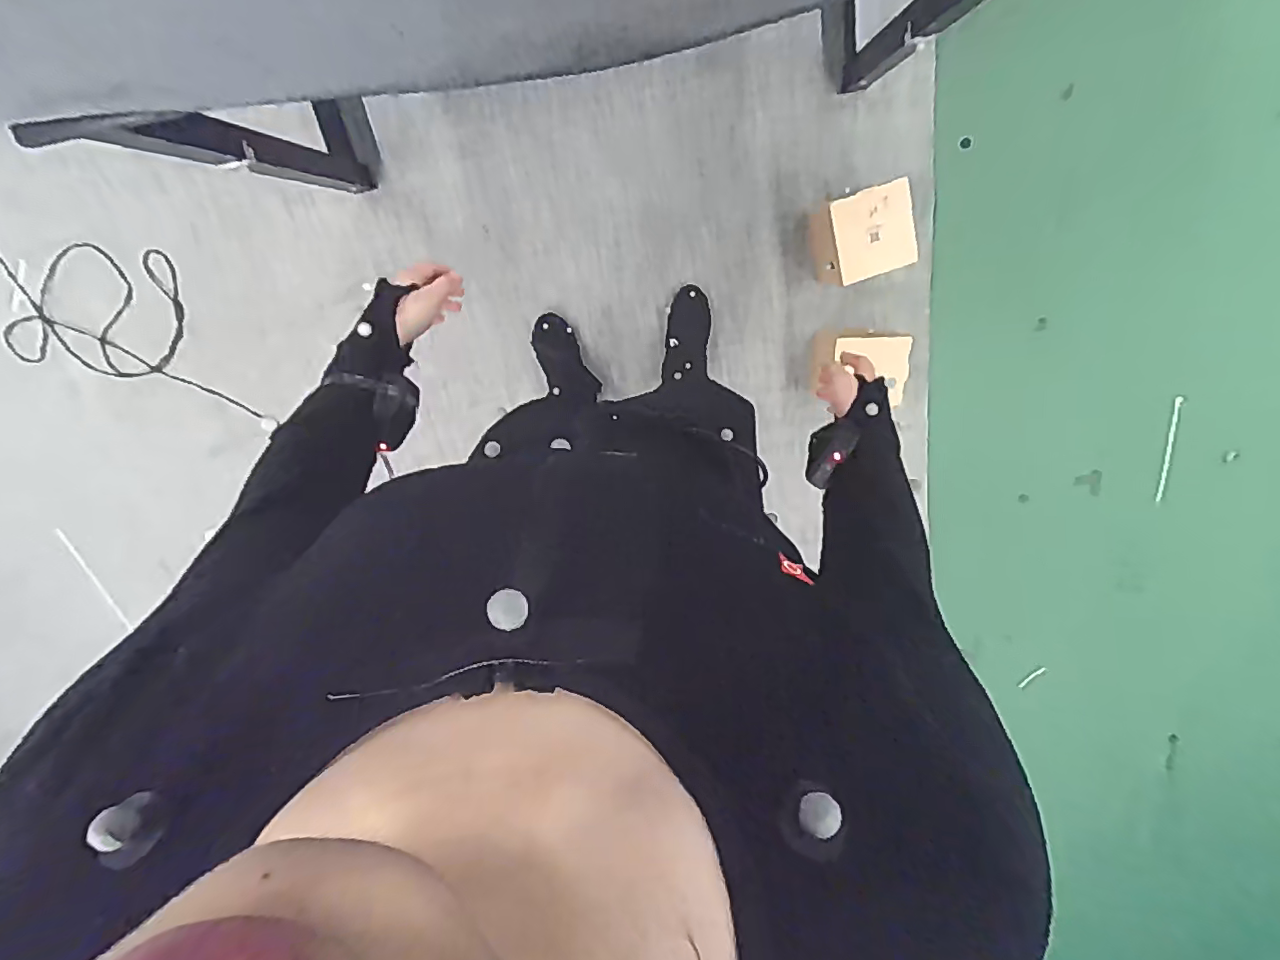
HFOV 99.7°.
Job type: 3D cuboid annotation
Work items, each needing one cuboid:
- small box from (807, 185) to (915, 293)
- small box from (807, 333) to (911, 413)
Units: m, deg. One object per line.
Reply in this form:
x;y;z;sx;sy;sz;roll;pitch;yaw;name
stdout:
0.492;-0.538;1.218;0.168;0.176;0.179;-17;111;6;small box
0.530;-0.267;1.331;0.179;0.176;0.168;-1;113;1;small box
